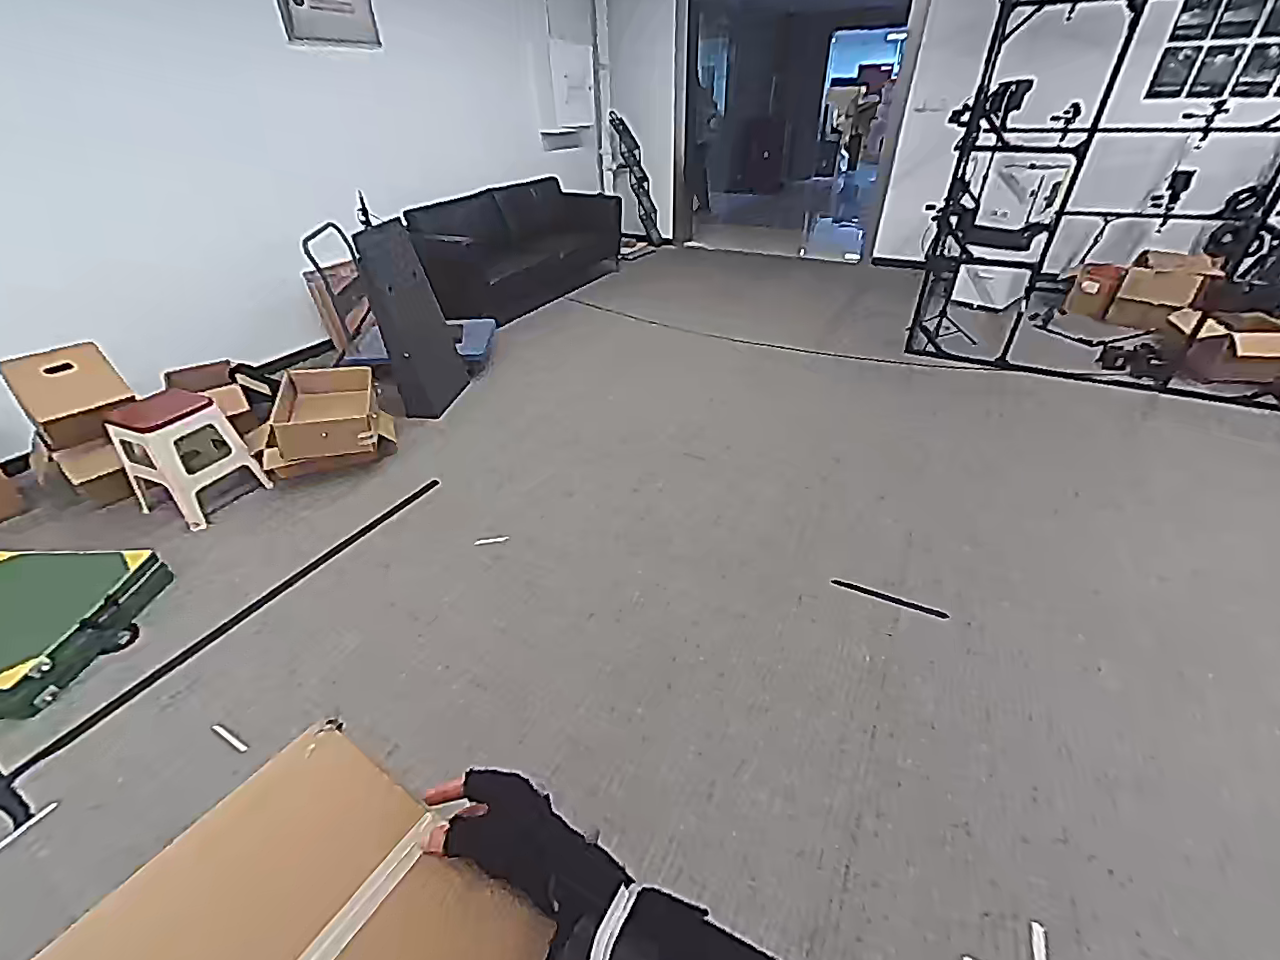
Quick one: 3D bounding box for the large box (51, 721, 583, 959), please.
[{"bbox_3d":[-0.286,0.501,0.417,0.320,0.320,0.408,26,41,21],"label":"large box"}]
